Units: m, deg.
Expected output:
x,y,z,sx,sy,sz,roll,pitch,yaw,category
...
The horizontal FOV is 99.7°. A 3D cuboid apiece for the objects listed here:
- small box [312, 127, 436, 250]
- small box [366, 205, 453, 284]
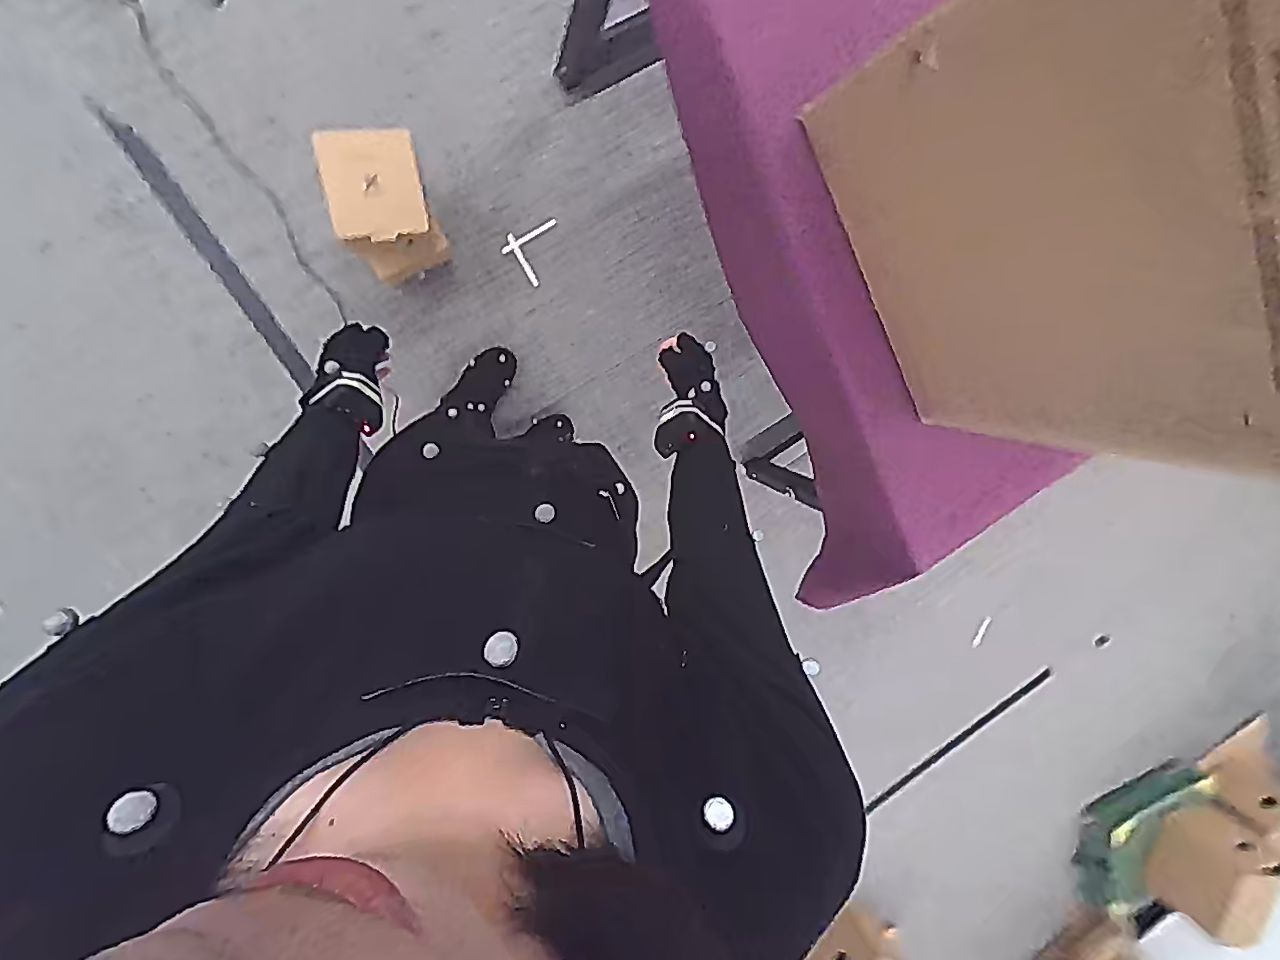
x,y,z,sx,sy,sz,roll,pitch,yaw,category
-0.499,-0.551,1.043,0.168,0.176,0.179,-11,105,-14,small box
-0.536,-0.559,1.205,0.168,0.176,0.179,-30,110,-7,small box
